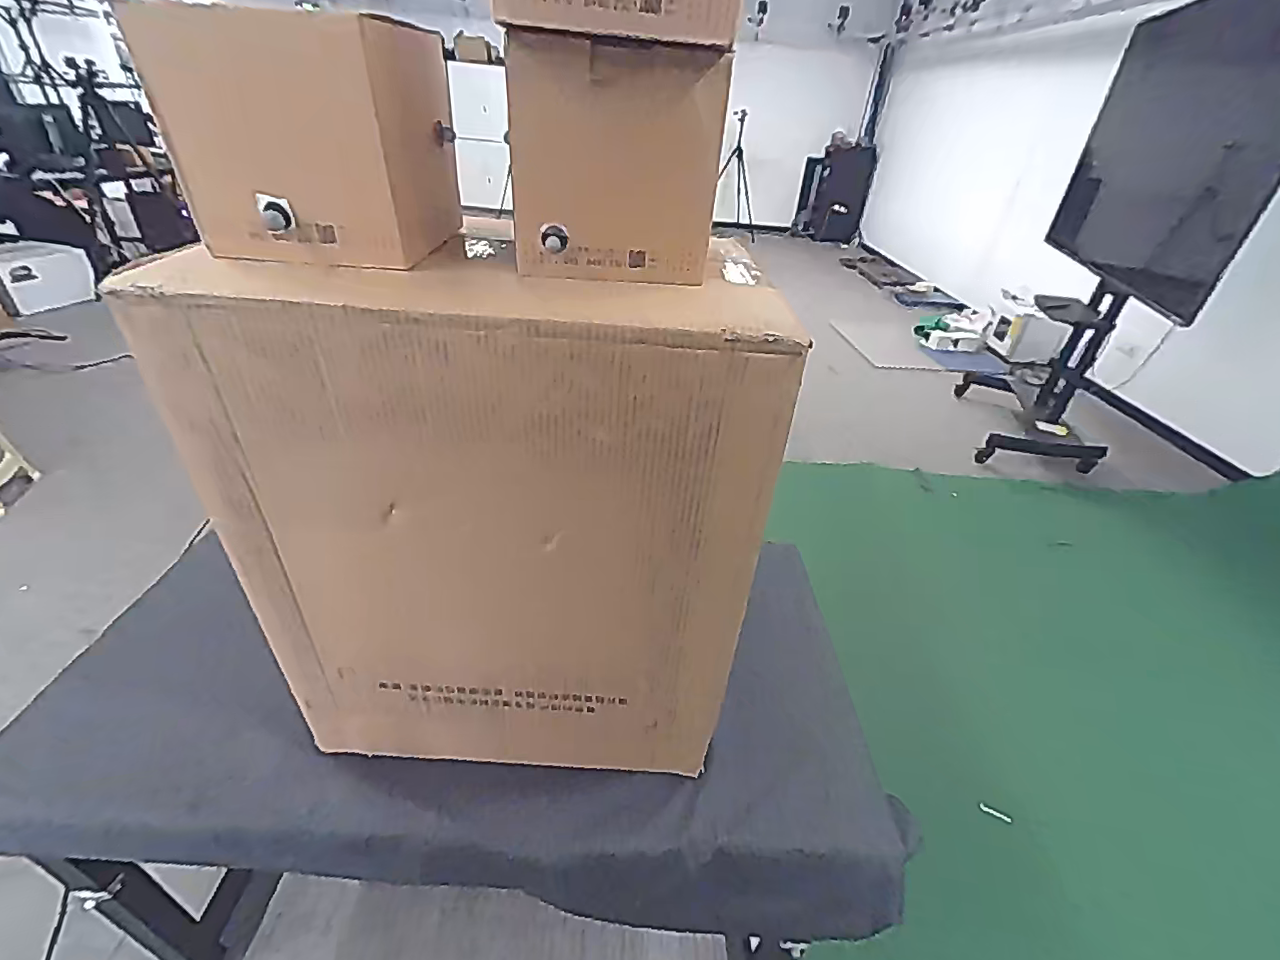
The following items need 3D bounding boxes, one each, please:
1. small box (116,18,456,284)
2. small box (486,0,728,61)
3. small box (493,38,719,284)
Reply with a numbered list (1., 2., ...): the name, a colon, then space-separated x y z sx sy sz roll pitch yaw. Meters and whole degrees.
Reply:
1. small box: -0.272 -0.285 0.475 0.168 0.176 0.179 1 38 -1
2. small box: -0.023 -0.408 0.385 0.168 0.176 0.179 1 36 -4
3. small box: -0.032 -0.287 0.496 0.168 0.176 0.179 0 35 -6
